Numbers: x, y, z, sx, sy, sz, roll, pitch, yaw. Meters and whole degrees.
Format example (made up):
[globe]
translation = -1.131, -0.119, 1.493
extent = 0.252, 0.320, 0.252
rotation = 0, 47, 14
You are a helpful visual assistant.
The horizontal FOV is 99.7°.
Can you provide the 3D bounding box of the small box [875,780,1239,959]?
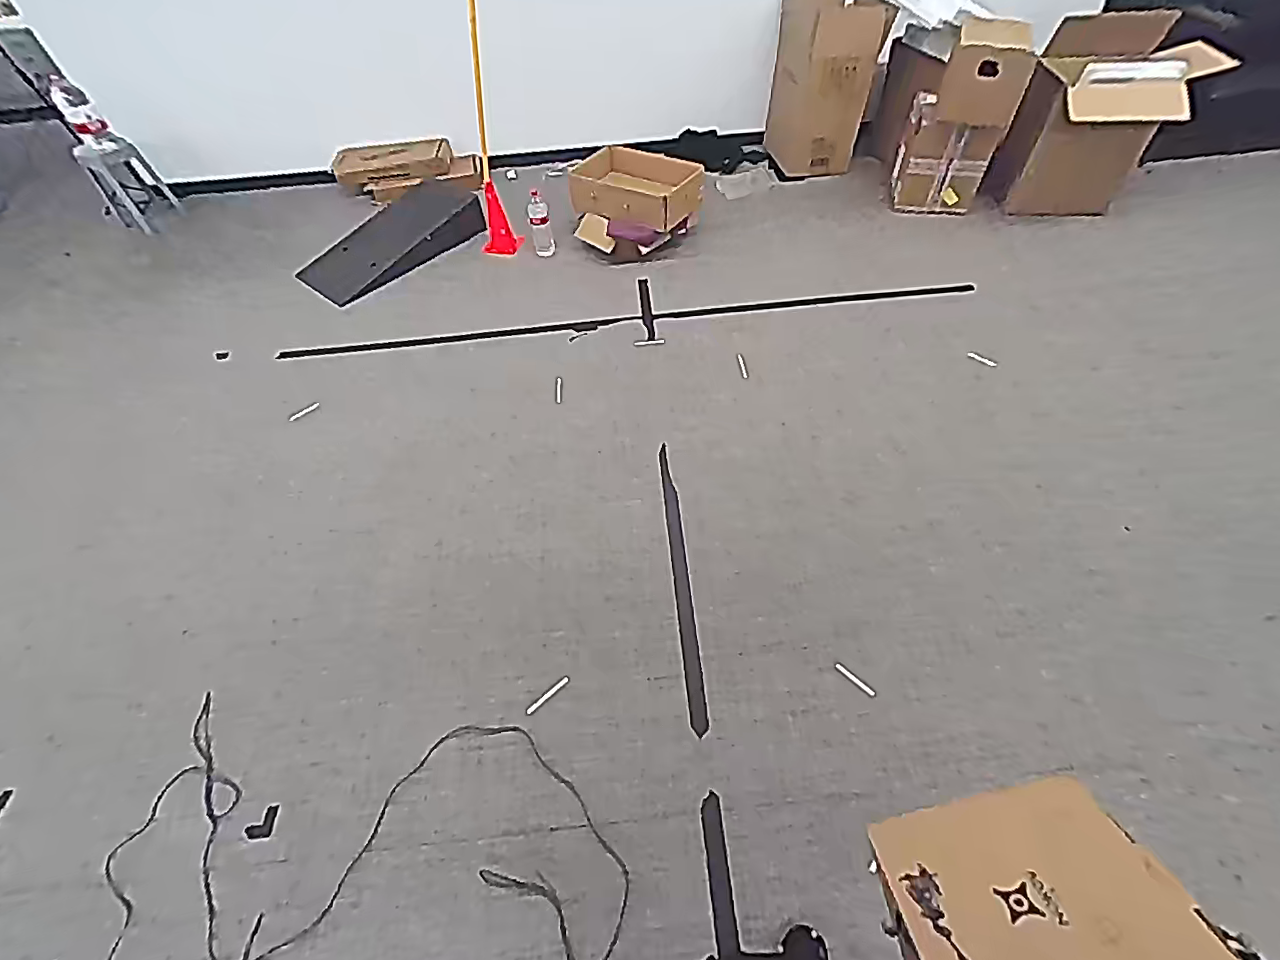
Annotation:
[small box]
translation = 0.306, 0.372, 0.407
extent = 0.179, 0.176, 0.168
rotation = -18, 16, 7
